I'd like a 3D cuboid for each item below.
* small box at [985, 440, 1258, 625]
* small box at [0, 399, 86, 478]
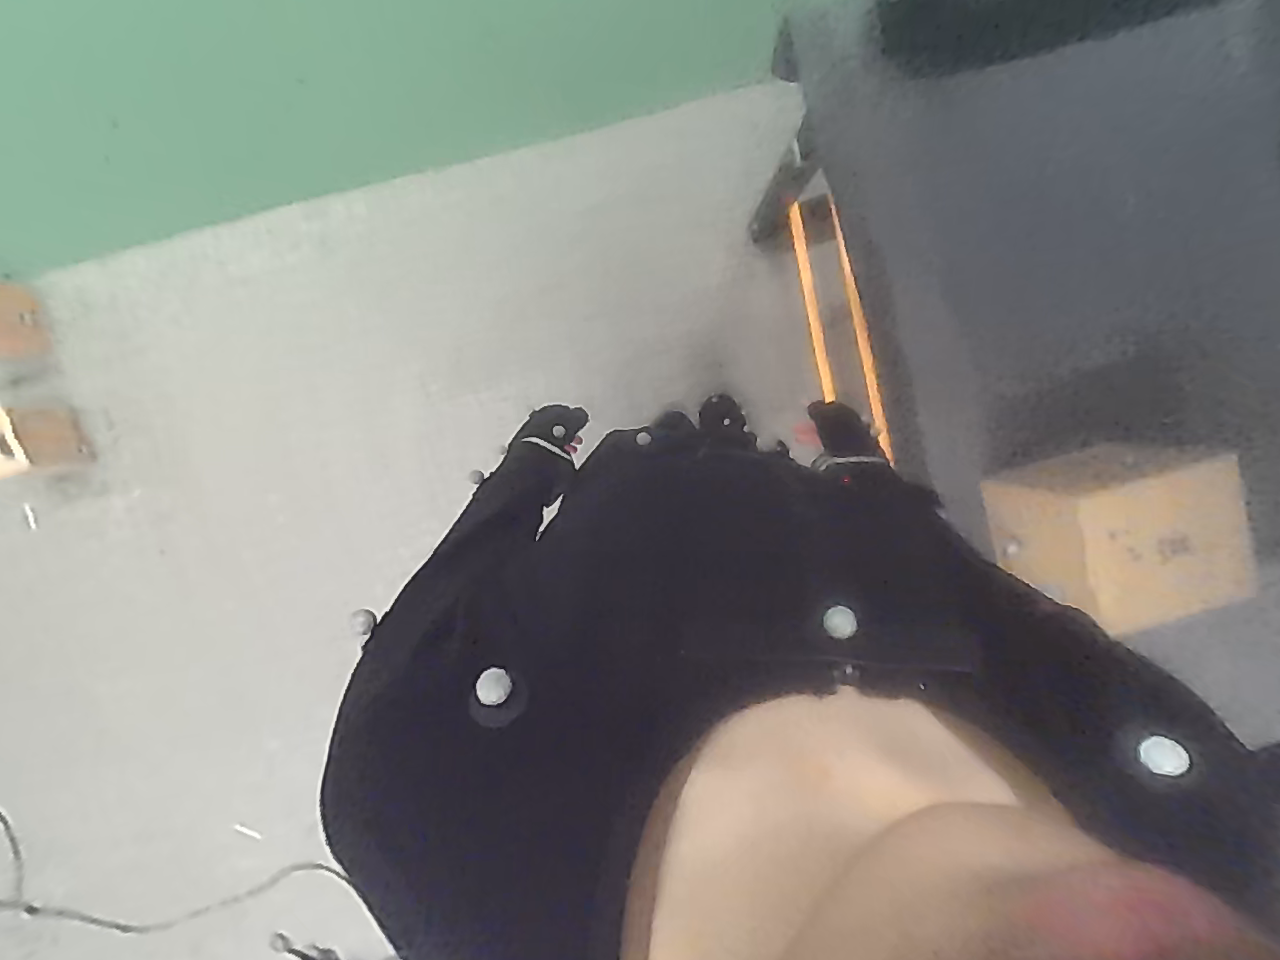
[{"bbox_3d":[0.573,0.051,0.666,0.179,0.176,0.168,-16,96,1],"label":"small box"},{"bbox_3d":[-1.599,-0.107,1.392,0.179,0.176,0.168,-17,96,3],"label":"small box"}]
